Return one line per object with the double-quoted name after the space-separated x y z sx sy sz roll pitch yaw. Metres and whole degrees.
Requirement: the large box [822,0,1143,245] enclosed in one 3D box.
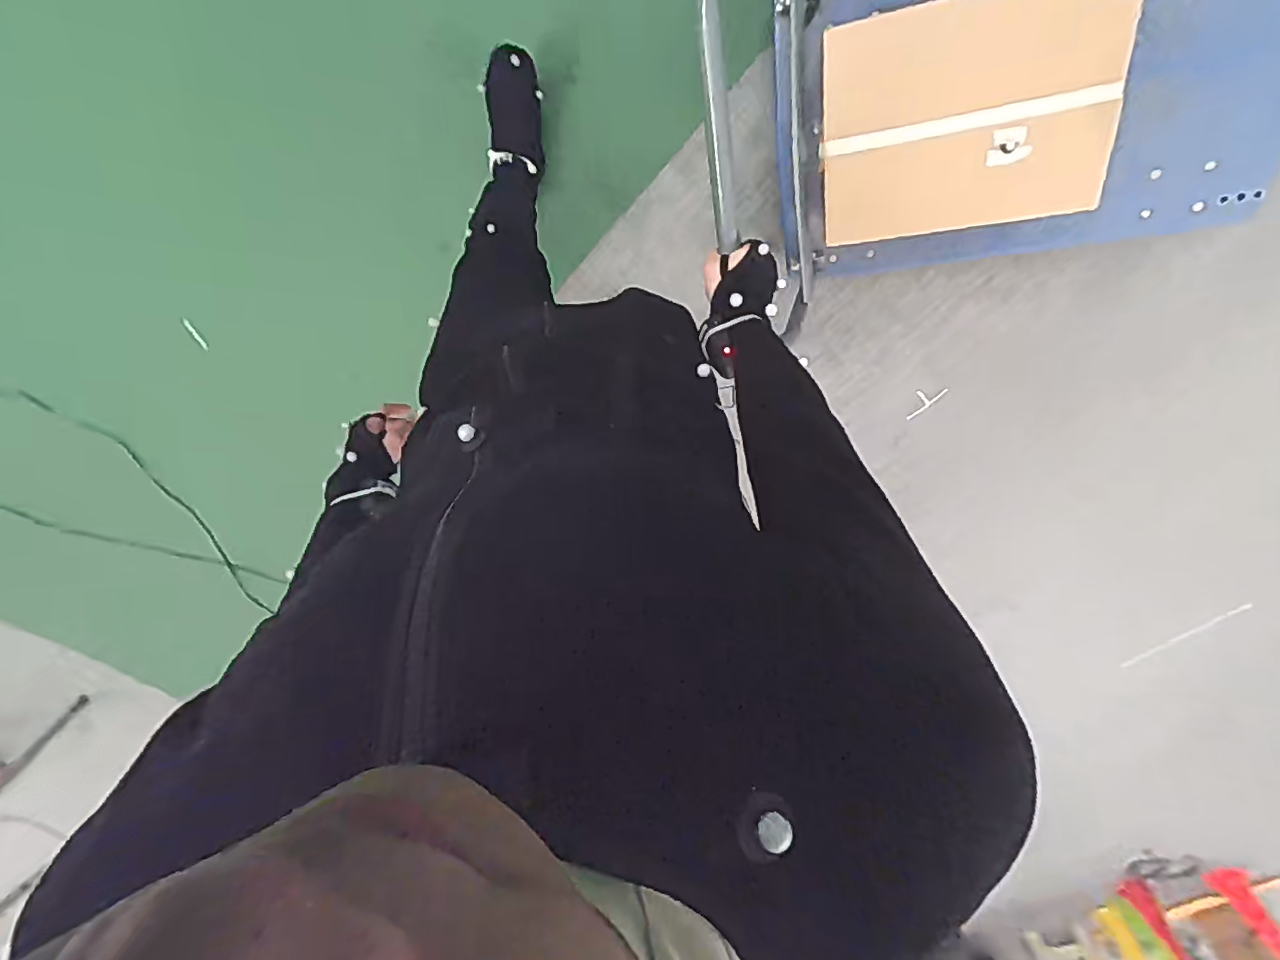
0.535 -0.631 0.946 0.408 0.320 0.320 -1 123 19 "large box"
